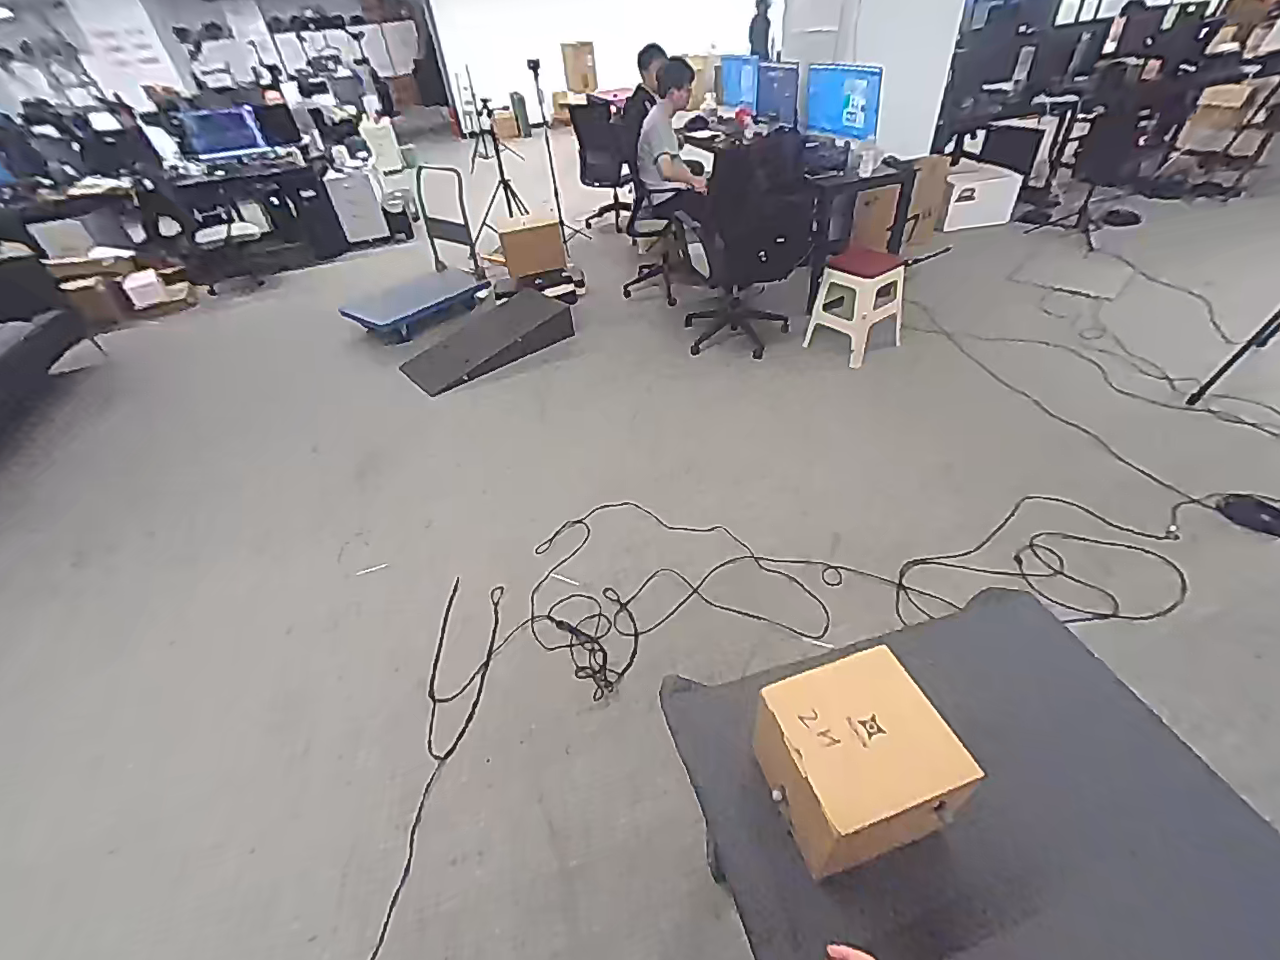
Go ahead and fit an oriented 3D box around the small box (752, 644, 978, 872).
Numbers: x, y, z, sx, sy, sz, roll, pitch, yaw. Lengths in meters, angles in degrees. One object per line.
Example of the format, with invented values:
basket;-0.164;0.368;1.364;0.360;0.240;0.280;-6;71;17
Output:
small box;0.251;0.334;0.653;0.179;0.176;0.168;-14;42;-11
